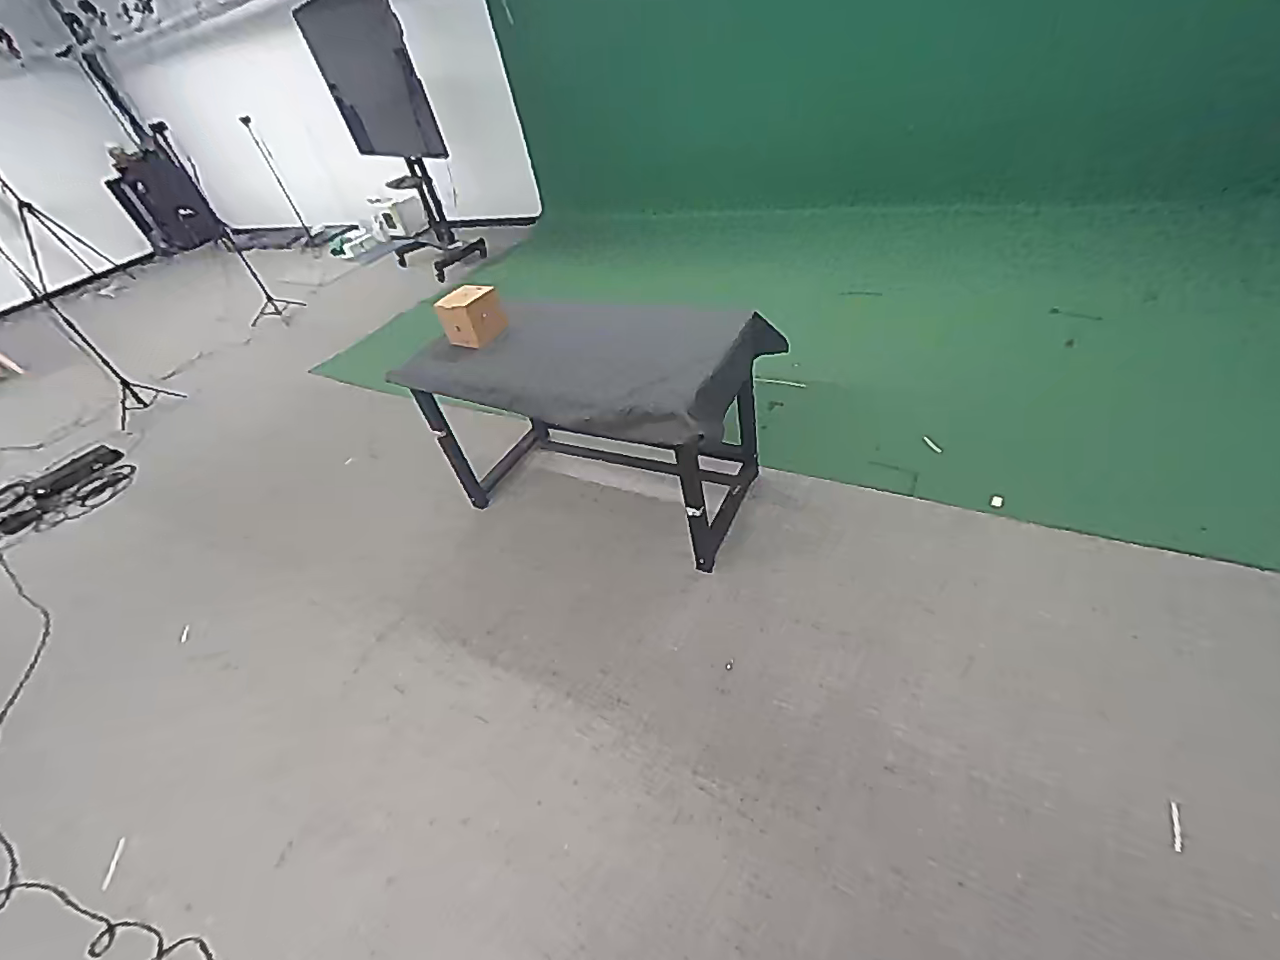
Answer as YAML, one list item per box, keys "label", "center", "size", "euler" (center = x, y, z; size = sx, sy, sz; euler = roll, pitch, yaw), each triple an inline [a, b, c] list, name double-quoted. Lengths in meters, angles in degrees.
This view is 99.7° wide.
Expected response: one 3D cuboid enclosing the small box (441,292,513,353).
- label: "small box"
  center: [-0.623, -0.608, 2.092]
  size: [0.168, 0.176, 0.179]
  euler: [14, 48, 28]
